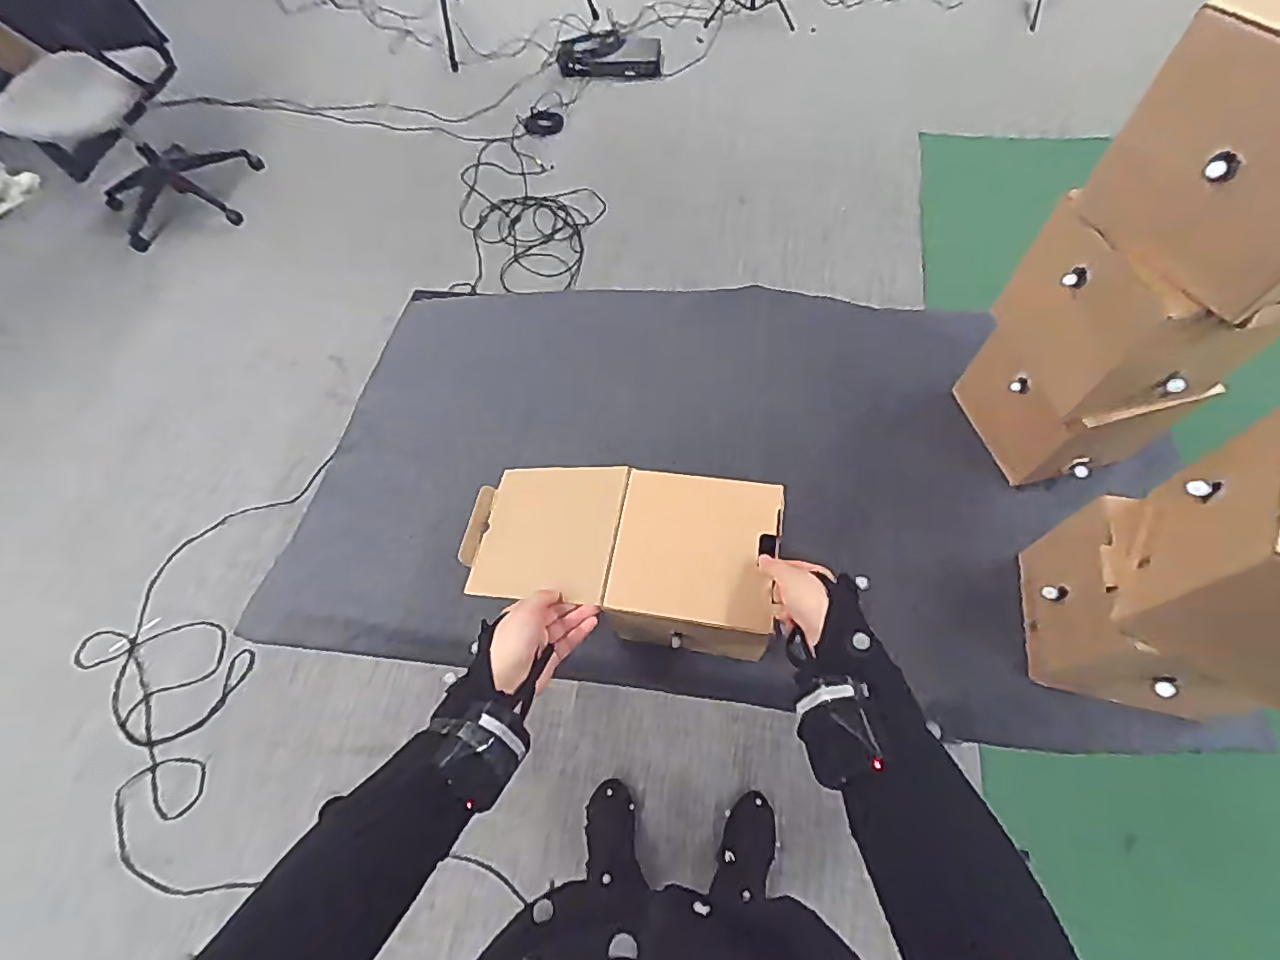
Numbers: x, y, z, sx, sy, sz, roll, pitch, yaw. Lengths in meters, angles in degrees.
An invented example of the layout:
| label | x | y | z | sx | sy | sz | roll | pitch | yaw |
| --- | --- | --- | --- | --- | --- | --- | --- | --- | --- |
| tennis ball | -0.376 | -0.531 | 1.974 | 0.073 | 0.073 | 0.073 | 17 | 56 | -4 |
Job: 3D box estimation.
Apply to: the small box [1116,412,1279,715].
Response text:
| label | x | y | z | sx | sy | sz | roll | pitch | yaw |
| --- | --- | --- | --- | --- | --- | --- | --- | --- | --- |
| small box | 0.536 | 0.075 | 0.424 | 0.179 | 0.176 | 0.168 | 31 | 66 | 20 |

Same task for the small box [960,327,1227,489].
| label | x | y | z | sx | sy | sz | roll | pitch | yaw |
| --- | --- | --- | --- | --- | --- | --- | --- | --- | --- |
| small box | 0.564 | -0.114 | 0.708 | 0.168 | 0.176 | 0.179 | -15 | 64 | 0 |

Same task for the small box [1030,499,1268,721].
| label | x | y | z | sx | sy | sz | roll | pitch | yaw |
| --- | --- | --- | --- | --- | --- | --- | --- | --- | --- |
| small box | 0.547 | 0.143 | 0.573 | 0.179 | 0.176 | 0.168 | 10 | 61 | 11 |

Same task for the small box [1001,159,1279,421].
| label | x | y | z | sx | sy | sz | roll | pitch | yaw |
| --- | --- | --- | --- | --- | --- | --- | --- | --- | --- |
| small box | 0.525 | -0.189 | 0.565 | 0.168 | 0.176 | 0.179 | -12 | 63 | 3 |
